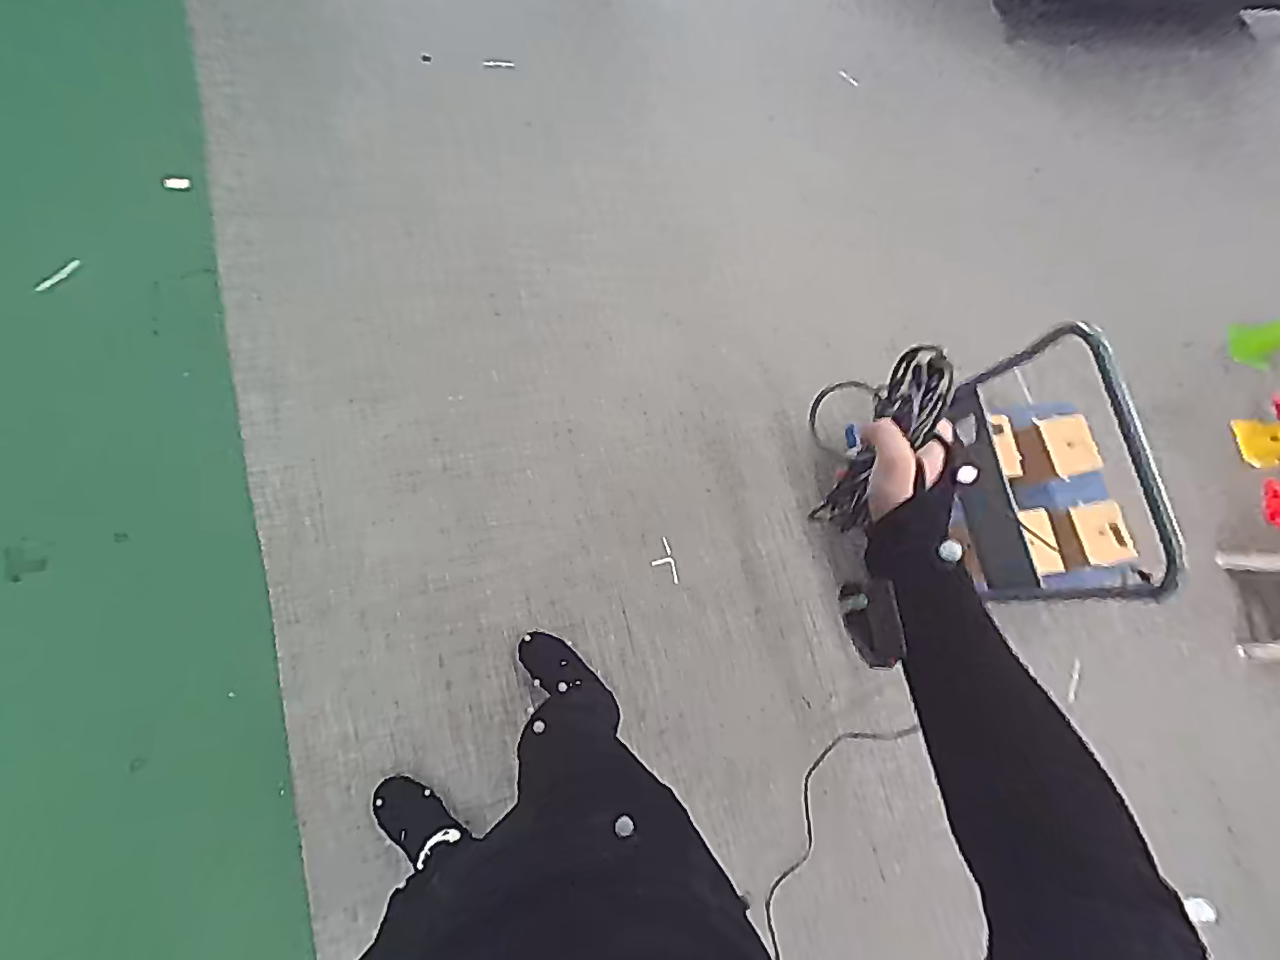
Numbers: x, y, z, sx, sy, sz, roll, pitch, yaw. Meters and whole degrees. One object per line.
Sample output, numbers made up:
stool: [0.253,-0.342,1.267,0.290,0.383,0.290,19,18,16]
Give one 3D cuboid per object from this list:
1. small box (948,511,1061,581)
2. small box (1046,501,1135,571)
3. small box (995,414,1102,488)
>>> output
small box: [0.995,0.184,1.489,0.179,0.176,0.168,-5,77,-14]
small box: [1.244,0.166,1.552,0.179,0.176,0.168,-8,77,-15]
small box: [1.197,-0.081,1.605,0.179,0.176,0.168,-10,79,-16]
